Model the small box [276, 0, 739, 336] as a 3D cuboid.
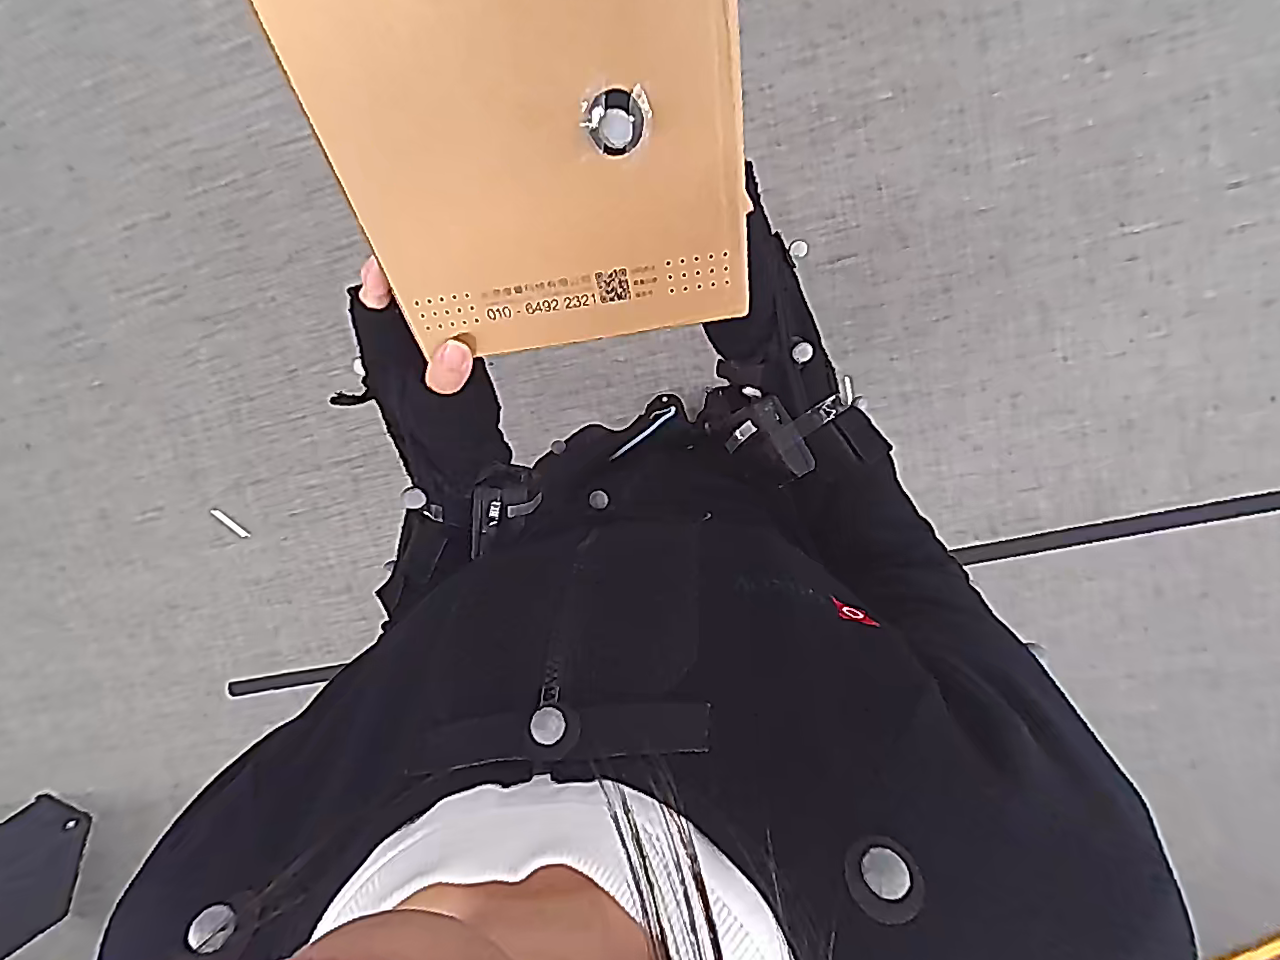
[{"bbox_3d":[-0.039,-0.191,0.297,0.168,0.179,0.176,-6,132,8],"label":"small box"}]
